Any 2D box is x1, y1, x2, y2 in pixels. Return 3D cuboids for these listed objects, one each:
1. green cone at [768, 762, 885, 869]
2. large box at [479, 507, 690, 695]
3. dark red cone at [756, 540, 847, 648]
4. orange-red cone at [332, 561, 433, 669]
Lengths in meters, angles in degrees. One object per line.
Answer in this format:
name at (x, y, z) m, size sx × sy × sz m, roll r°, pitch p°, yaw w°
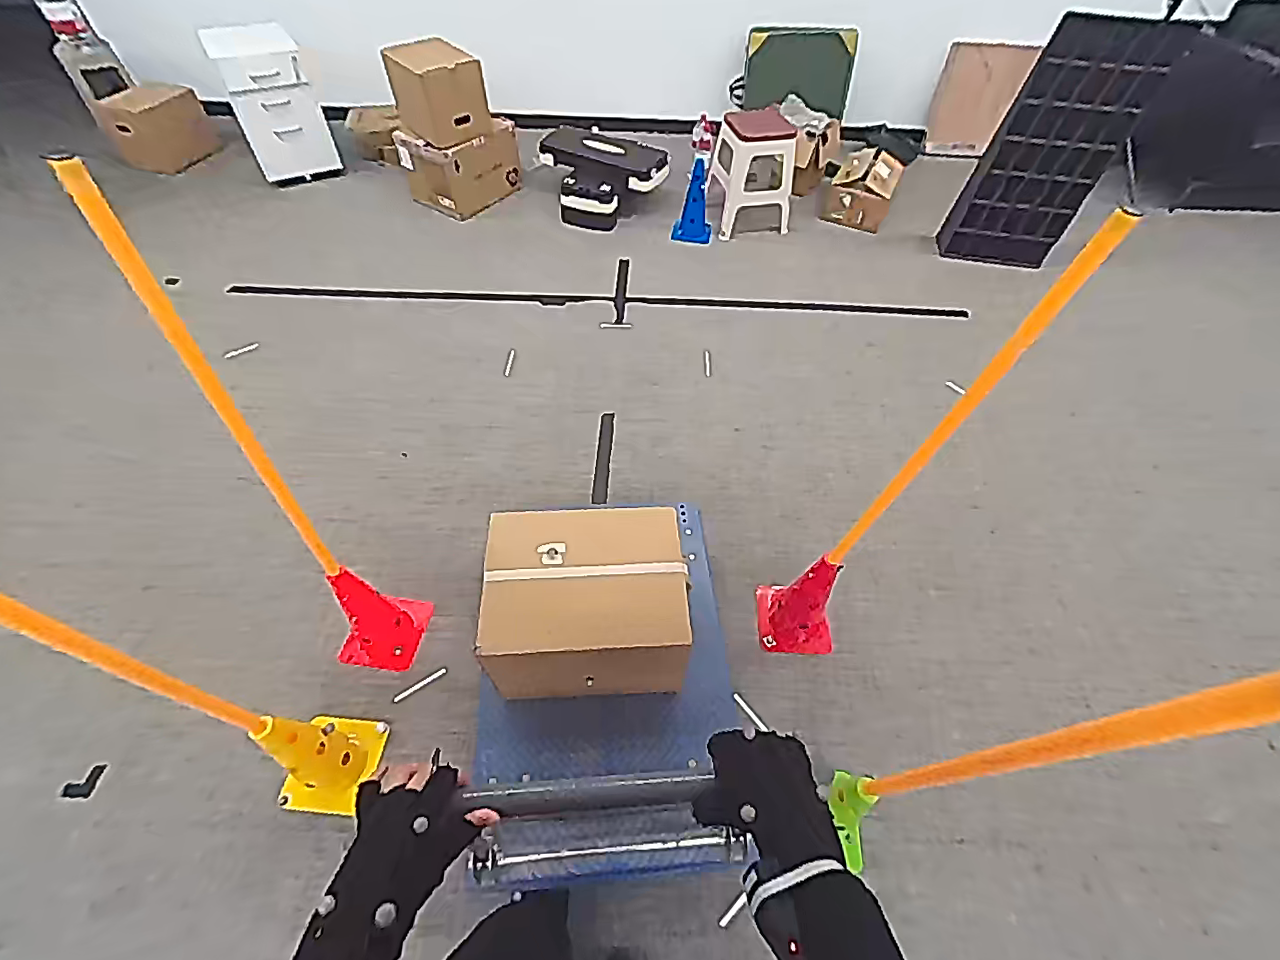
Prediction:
green cone at (0.409, 0.670, 1.119) m, size 0.202 × 0.368 × 0.200 m, roll 6°, pitch 52°, yaw 1°
large box at (-0.113, 0.279, 1.217) m, size 0.408 × 0.320 × 0.320 m, roll -2°, pitch 53°, yaw -3°
dark red cone at (0.446, 0.276, 1.401) m, size 0.201 × 0.394 × 0.202 m, roll 4°, pitch 53°, yaw -2°
orange-red cone at (-0.687, 0.305, 1.356) m, size 0.198 × 0.360 × 0.199 m, roll 9°, pitch 51°, yaw 4°
